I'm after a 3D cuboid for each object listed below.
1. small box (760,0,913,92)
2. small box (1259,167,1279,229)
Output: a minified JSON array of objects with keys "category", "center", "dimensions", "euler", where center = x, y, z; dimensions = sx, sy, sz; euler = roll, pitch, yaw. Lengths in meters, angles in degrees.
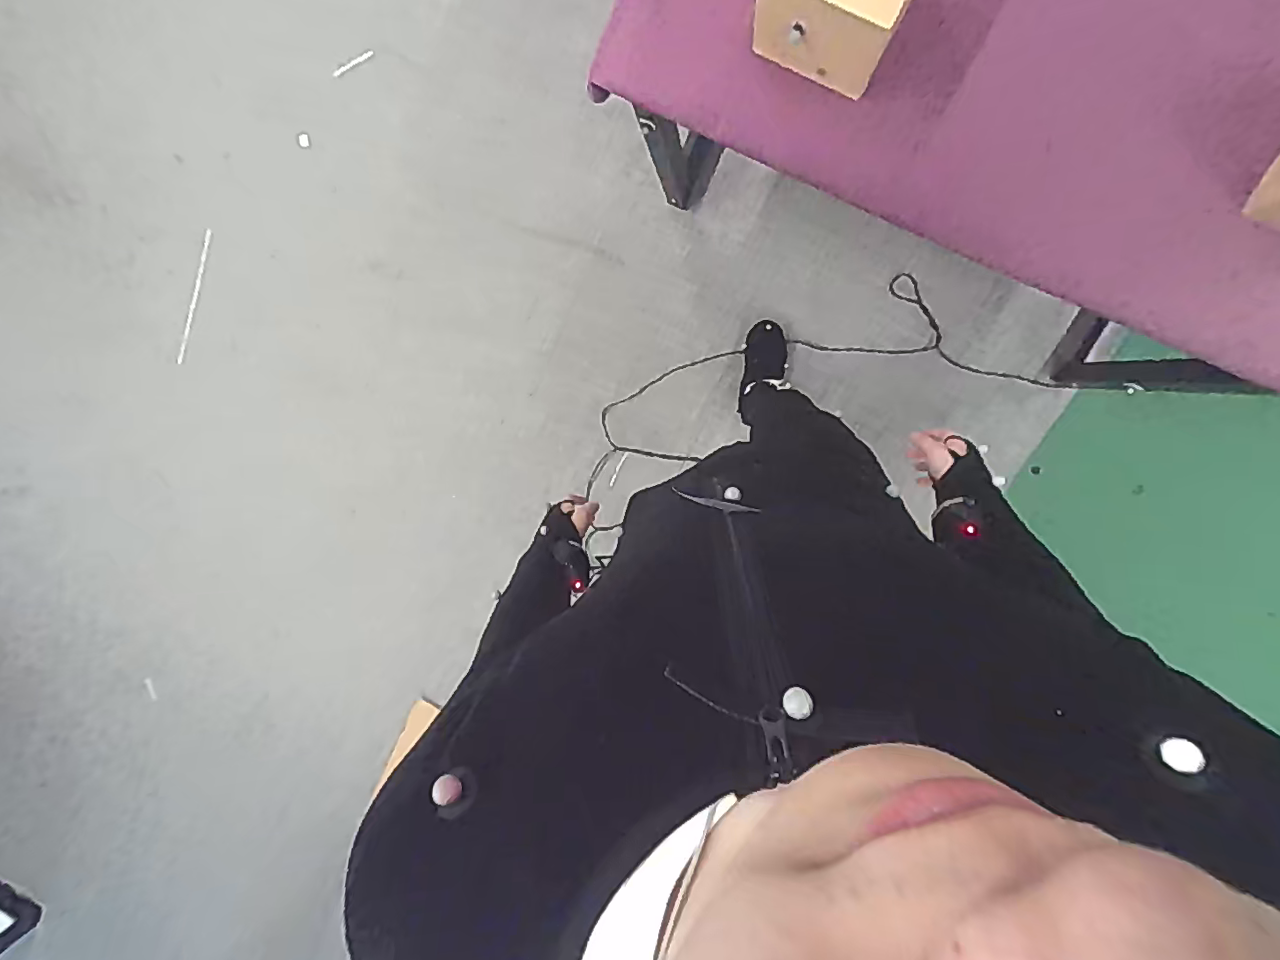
[{"category":"small box","center":[0.256,-0.622,0.652],"dimensions":[0.168,0.176,0.179],"euler":[28,104,4]},{"category":"small box","center":[0.874,-0.368,0.592],"dimensions":[0.168,0.176,0.179],"euler":[27,103,5]}]
